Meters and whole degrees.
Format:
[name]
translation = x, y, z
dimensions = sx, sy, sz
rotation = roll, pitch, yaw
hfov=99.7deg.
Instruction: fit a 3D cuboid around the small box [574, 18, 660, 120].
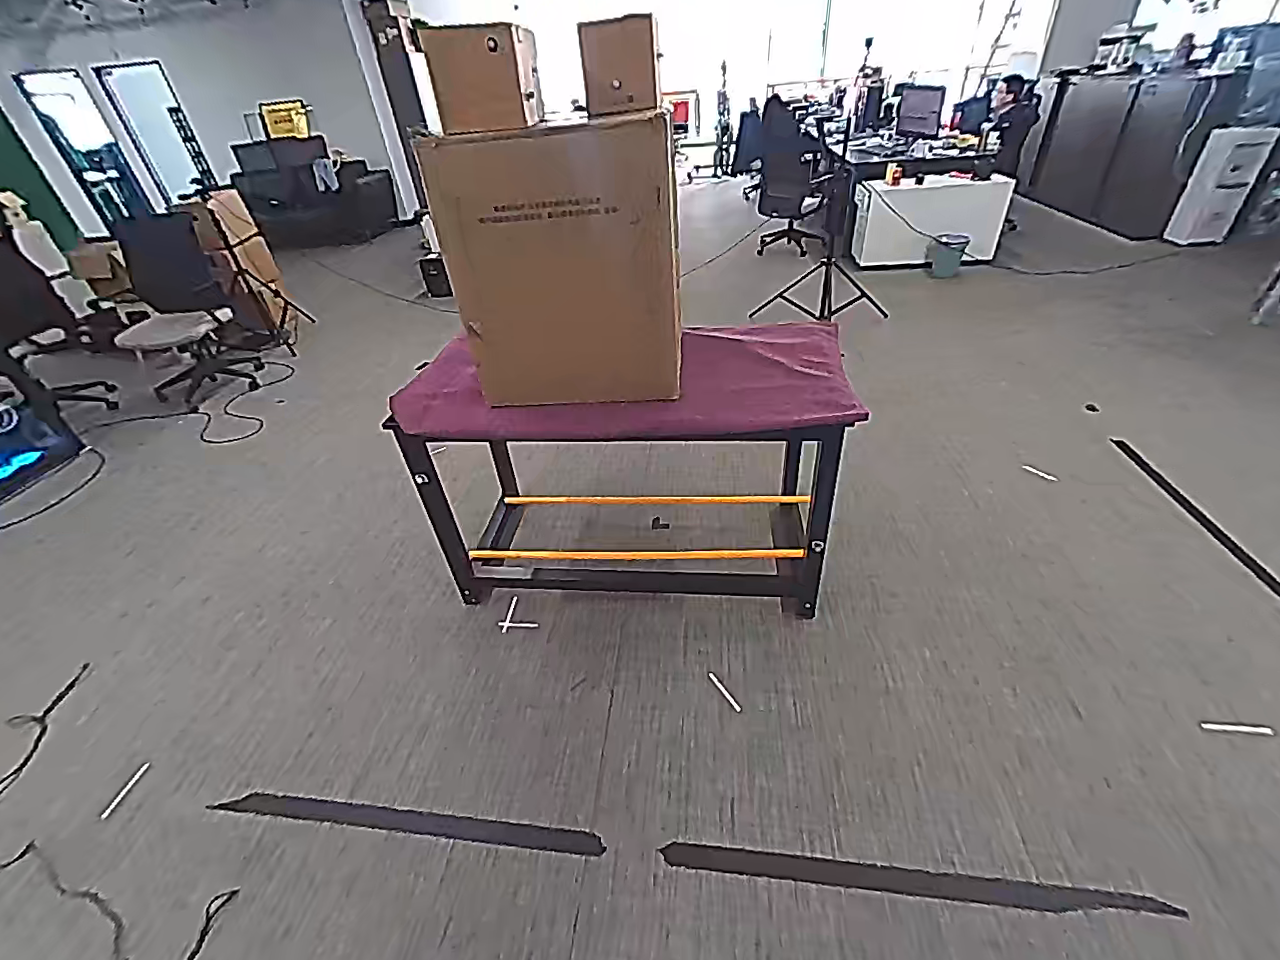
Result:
[small box]
translation = -0.044, -0.939, 1.245
dimensions = 0.168, 0.176, 0.179
rotation = -1, 37, 8
